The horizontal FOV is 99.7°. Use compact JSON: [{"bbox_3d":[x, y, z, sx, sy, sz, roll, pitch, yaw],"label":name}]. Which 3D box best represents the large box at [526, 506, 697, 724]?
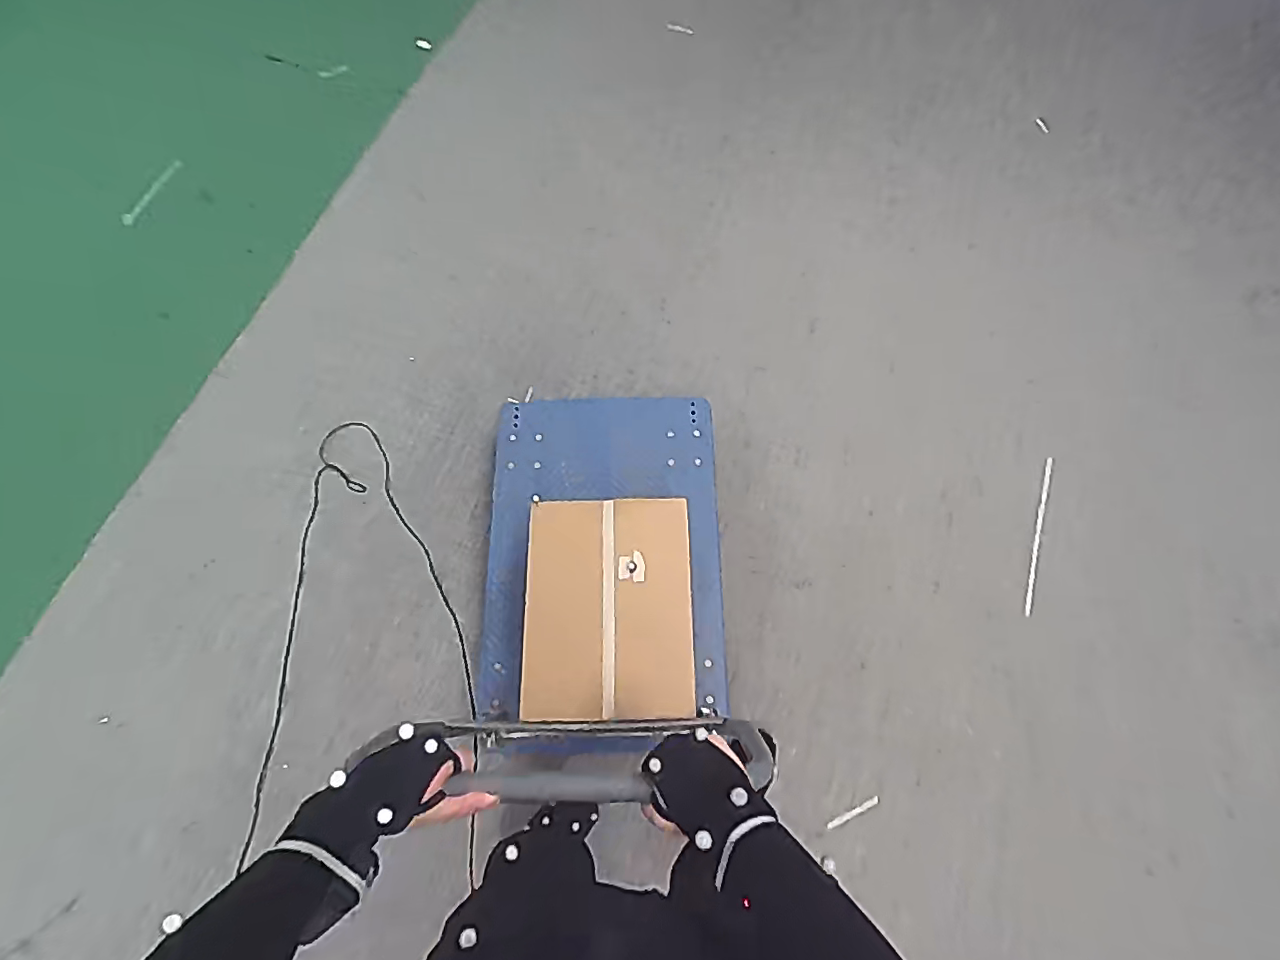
[{"bbox_3d":[-0.052,0.296,1.170,0.320,0.320,0.408,-2,70,1],"label":"large box"}]
